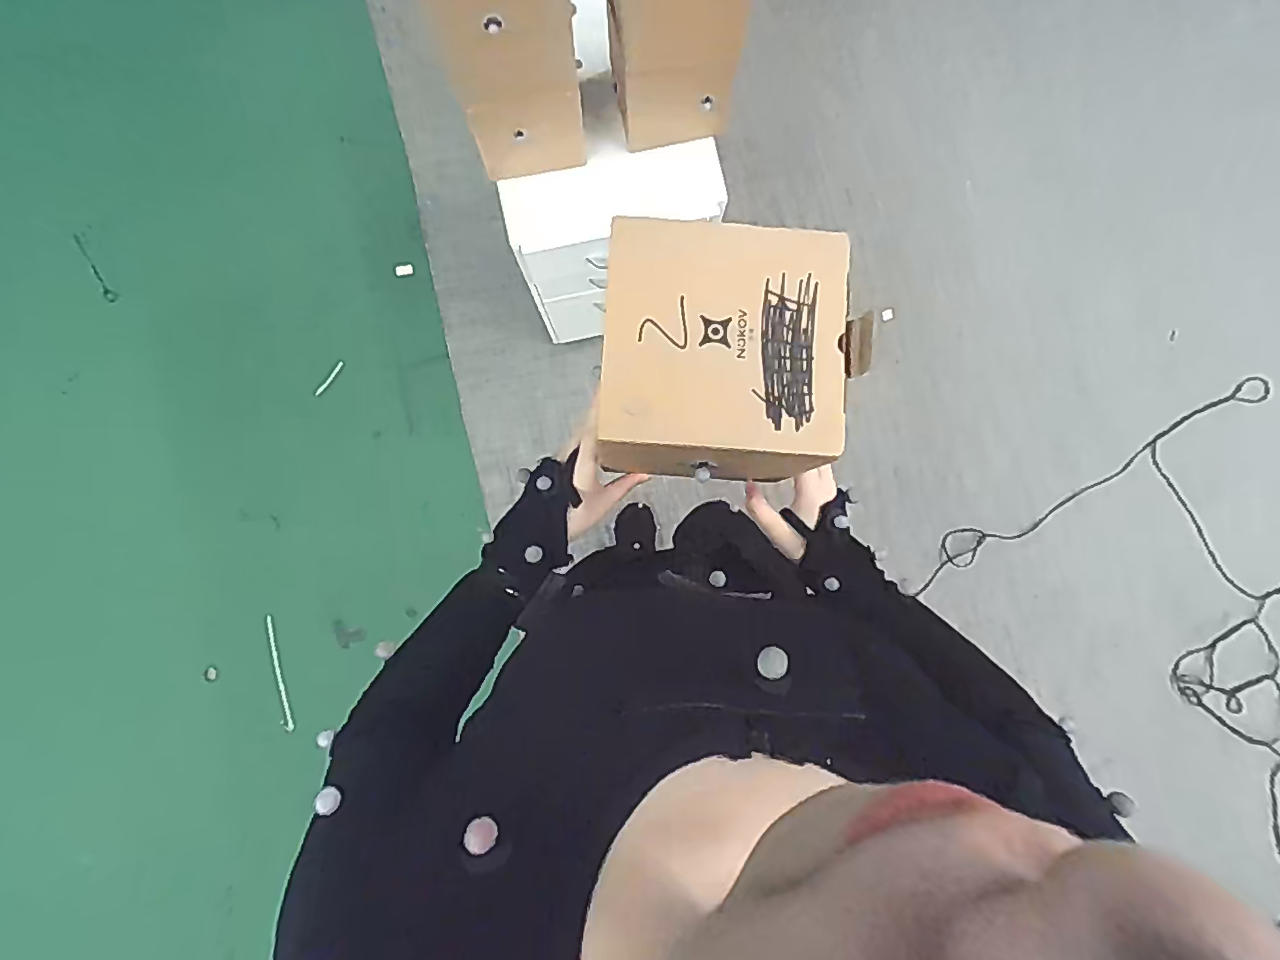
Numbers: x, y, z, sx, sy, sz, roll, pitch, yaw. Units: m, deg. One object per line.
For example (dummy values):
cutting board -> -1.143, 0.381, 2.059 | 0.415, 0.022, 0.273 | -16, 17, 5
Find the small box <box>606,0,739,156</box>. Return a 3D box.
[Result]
small box -> 0.047, -0.673, 0.886 | 0.179, 0.176, 0.168 | -13, 85, 0

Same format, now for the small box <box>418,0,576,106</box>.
small box -> -0.188, -0.633, 0.711 | 0.179, 0.176, 0.168 | -12, 87, -4

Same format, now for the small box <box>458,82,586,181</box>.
small box -> -0.192, -0.617, 0.875 | 0.179, 0.176, 0.168 | -12, 87, -3
